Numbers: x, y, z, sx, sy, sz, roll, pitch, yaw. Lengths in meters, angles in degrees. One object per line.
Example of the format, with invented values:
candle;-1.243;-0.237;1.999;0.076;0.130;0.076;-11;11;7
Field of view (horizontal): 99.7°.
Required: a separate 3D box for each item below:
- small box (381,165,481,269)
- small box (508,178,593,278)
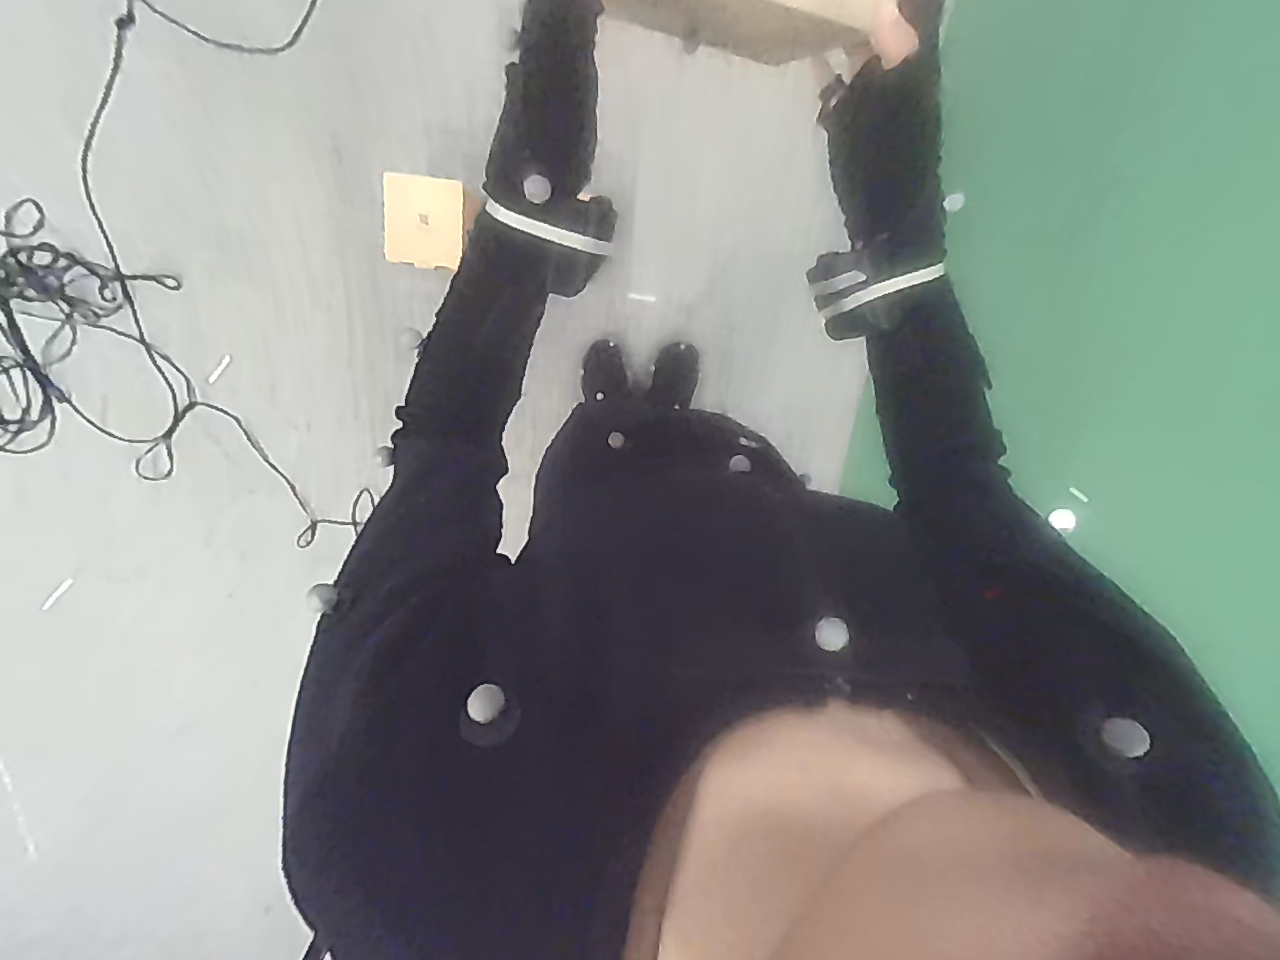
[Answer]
small box;-0.463;-0.581;1.214;0.168;0.176;0.179;6;108;-3
small box;-0.197;-0.560;1.225;0.168;0.176;0.179;5;107;-3
